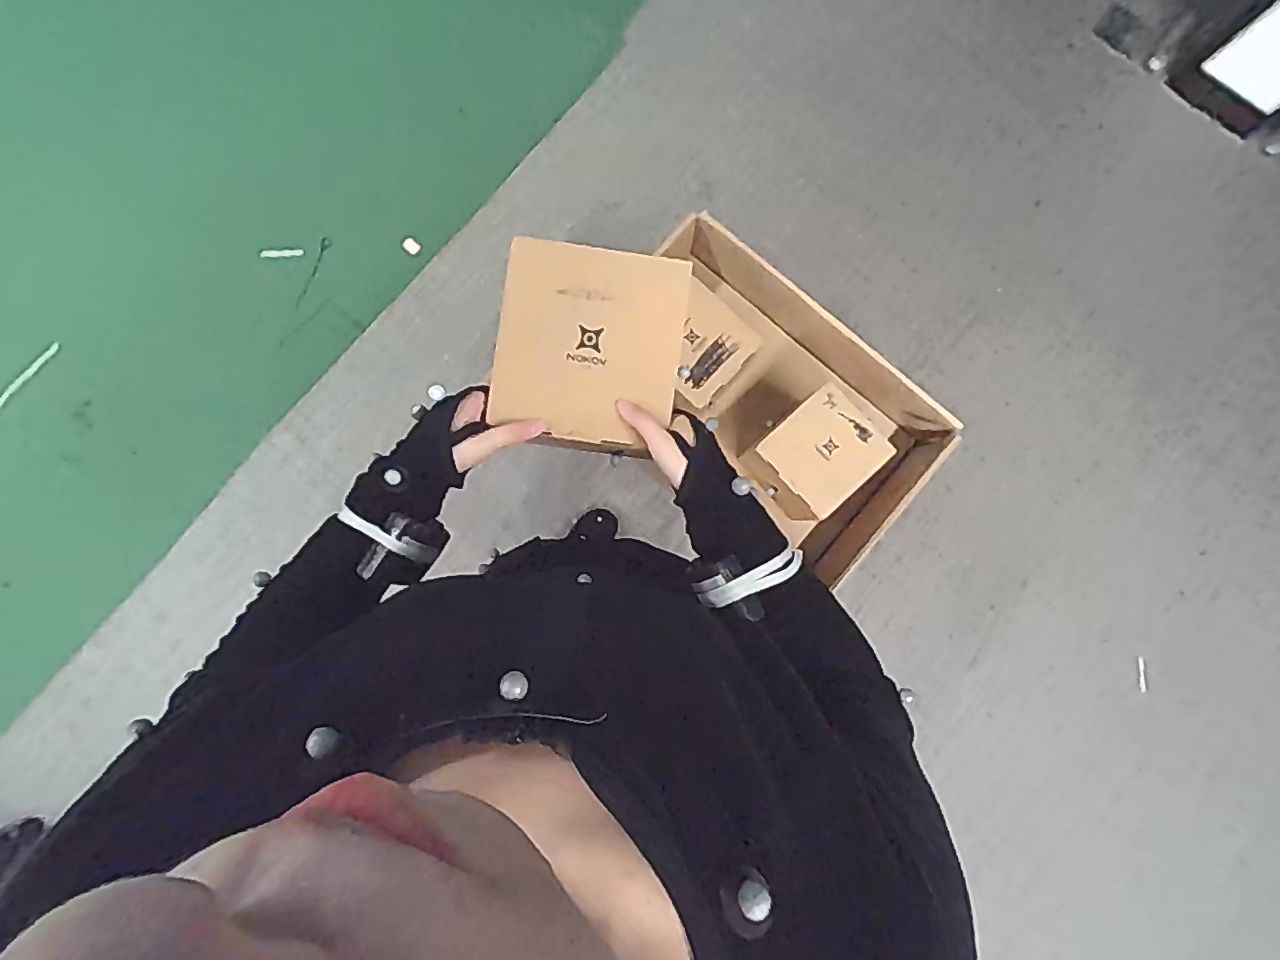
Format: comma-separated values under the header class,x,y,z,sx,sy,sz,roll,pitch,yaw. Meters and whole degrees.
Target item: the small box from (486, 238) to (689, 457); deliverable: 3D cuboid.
class,x,y,z,sx,sy,sz,roll,pitch,yaw
small box,-0.048,-0.122,0.567,0.168,0.176,0.179,8,89,-1
